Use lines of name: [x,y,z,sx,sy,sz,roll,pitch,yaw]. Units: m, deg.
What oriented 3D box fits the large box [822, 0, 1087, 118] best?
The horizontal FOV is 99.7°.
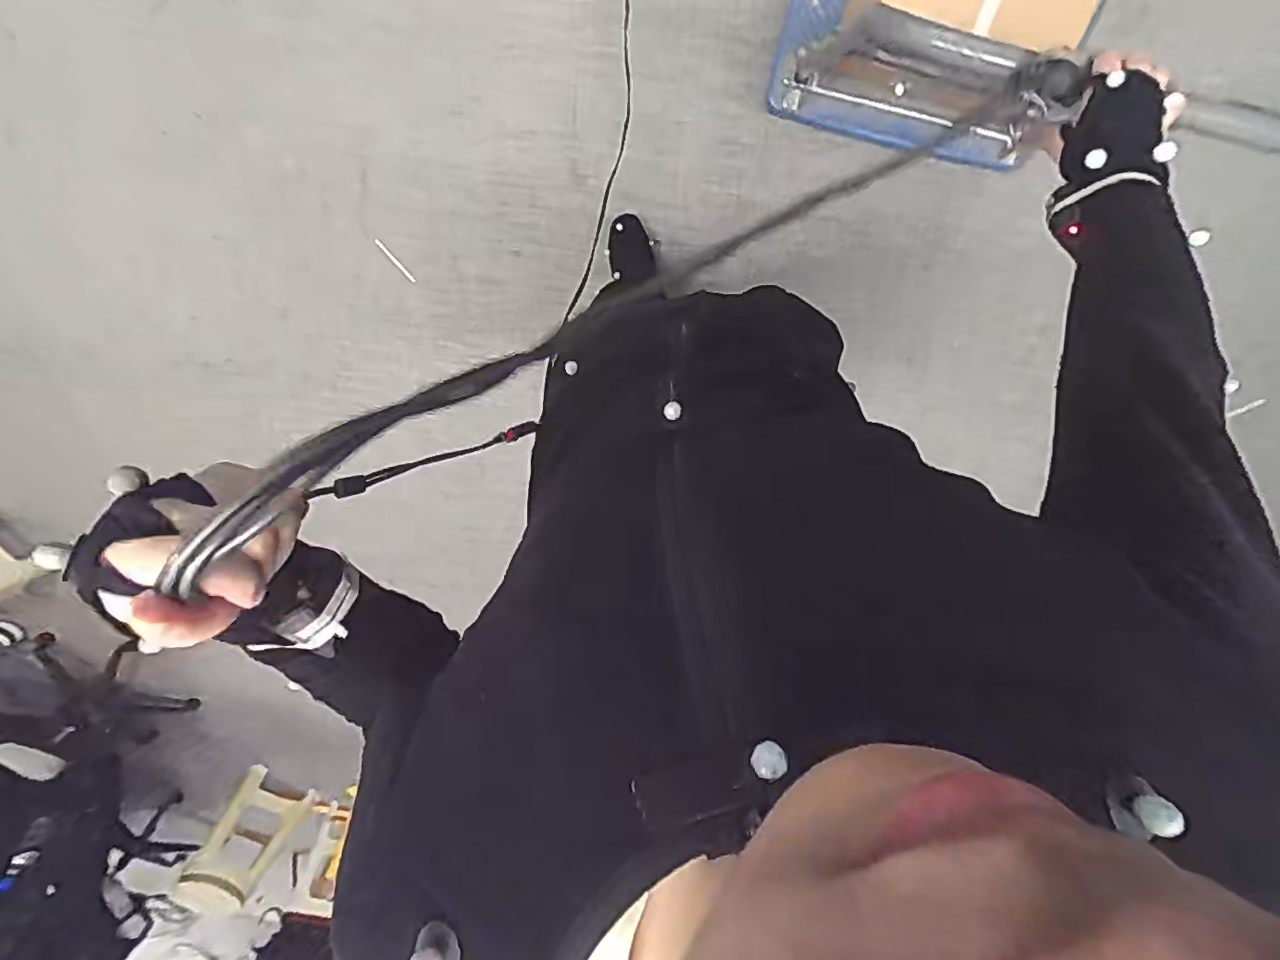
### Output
large box: [0.547,-0.888,0.896,0.320,0.320,0.408,13,117,-3]
